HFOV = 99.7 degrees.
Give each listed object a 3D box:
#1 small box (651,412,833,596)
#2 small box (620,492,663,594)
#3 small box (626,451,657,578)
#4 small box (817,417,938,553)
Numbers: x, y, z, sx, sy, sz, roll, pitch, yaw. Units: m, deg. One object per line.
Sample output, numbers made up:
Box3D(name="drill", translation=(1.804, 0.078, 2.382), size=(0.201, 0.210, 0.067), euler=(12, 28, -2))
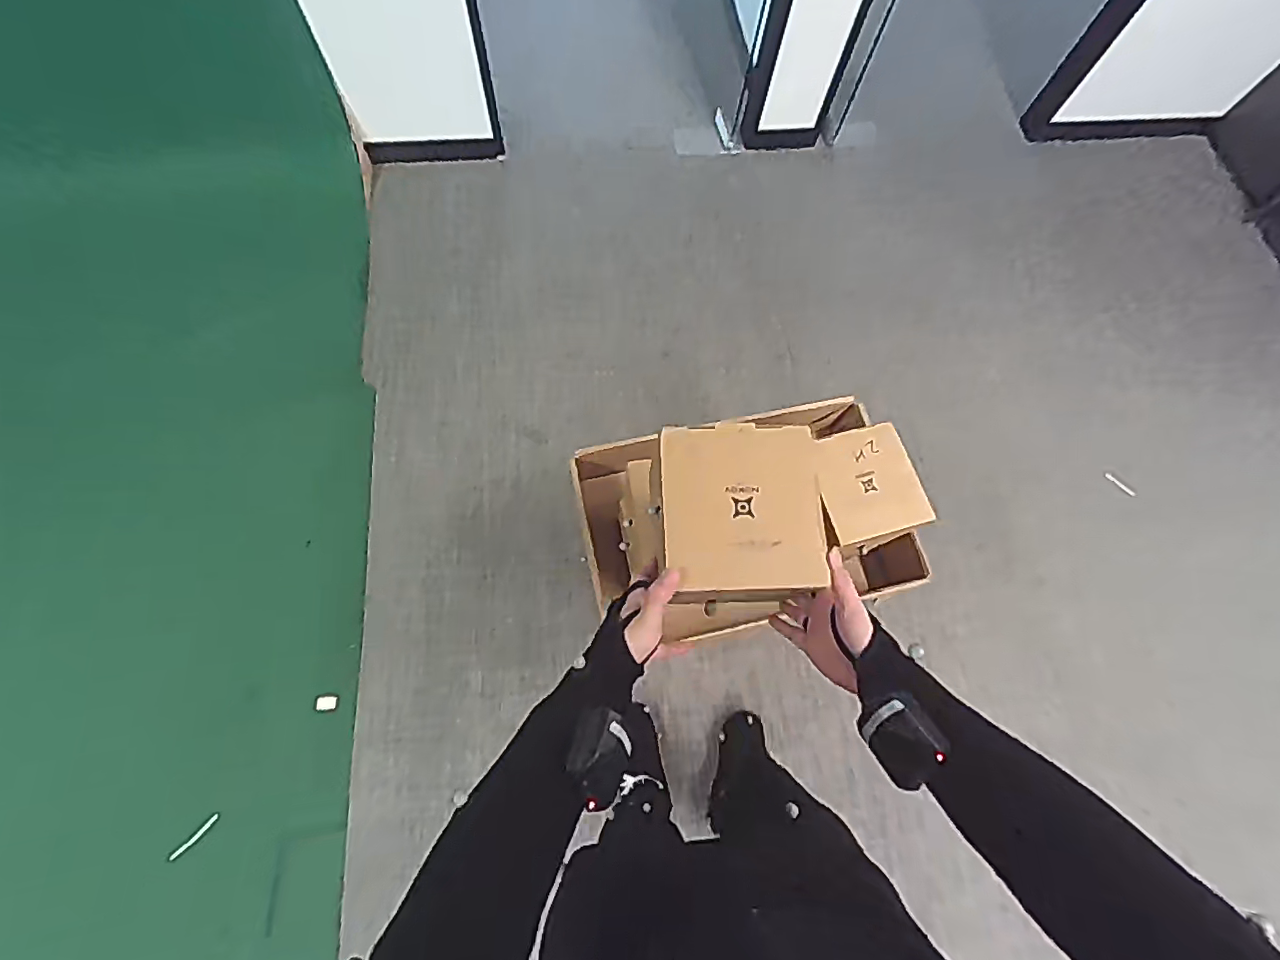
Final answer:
Box3D(name="small box", translation=(0.101, 0.036, 0.620), size=(0.168, 0.176, 0.179), euler=(0, 73, -2))
Box3D(name="small box", translation=(0.058, 0.114, 1.034), size=(0.168, 0.176, 0.179), euler=(-11, 71, -7))
Box3D(name="small box", translation=(0.070, 0.058, 0.879), size=(0.168, 0.176, 0.179), euler=(-7, 70, -6))
Box3D(name="small box", translation=(0.350, 0.020, 0.909), size=(0.168, 0.176, 0.179), euler=(-13, 72, -9))
